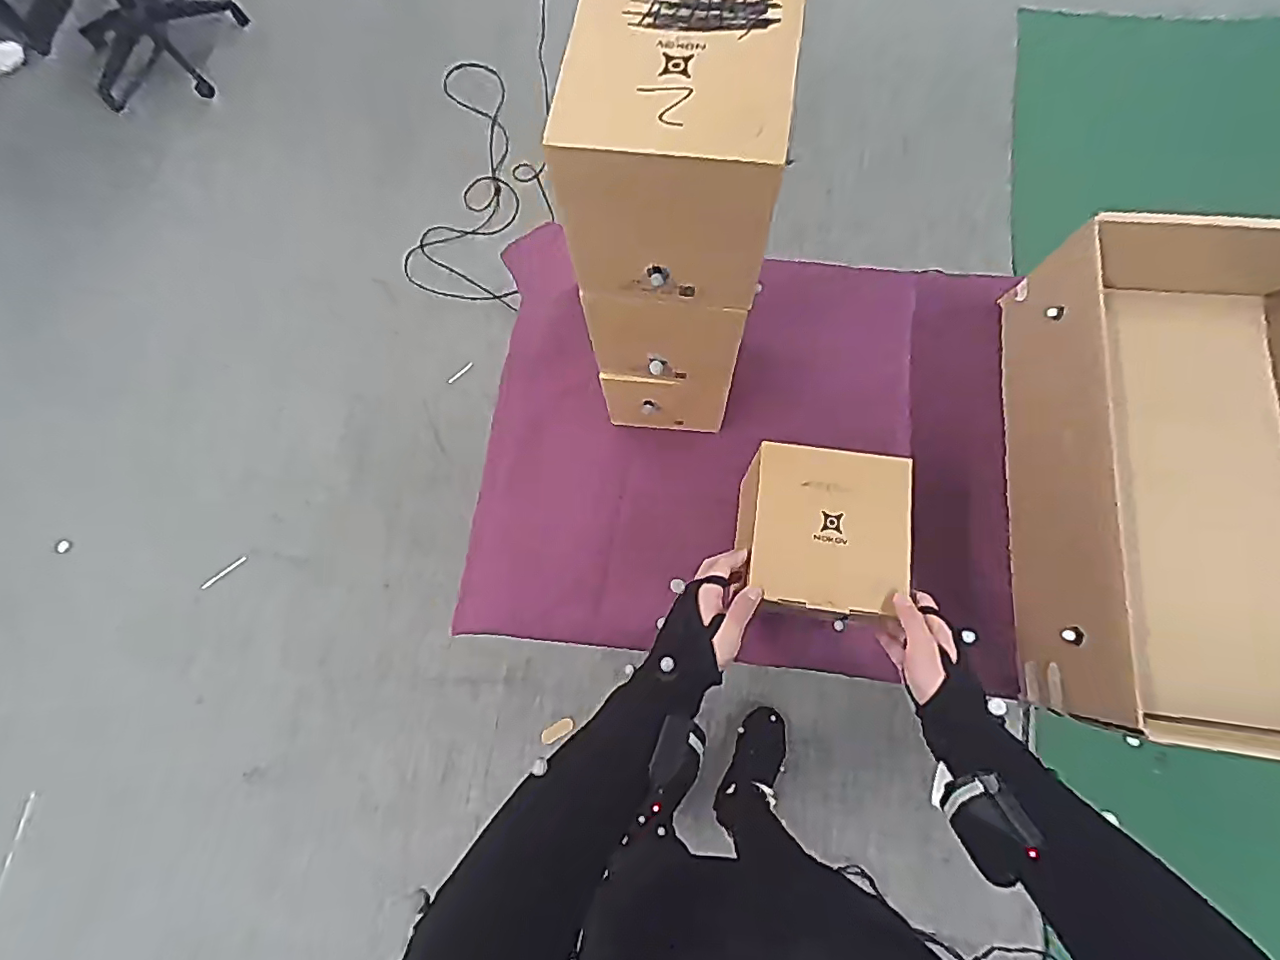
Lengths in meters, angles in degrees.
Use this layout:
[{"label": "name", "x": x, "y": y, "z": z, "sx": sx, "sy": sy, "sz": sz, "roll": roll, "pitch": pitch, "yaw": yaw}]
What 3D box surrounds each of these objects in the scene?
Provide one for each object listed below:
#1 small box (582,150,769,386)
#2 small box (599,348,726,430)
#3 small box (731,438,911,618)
[{"label": "small box", "x": 0.041, "y": -0.231, "z": 0.616, "sx": 0.168, "sy": 0.176, "sz": 0.179, "roll": 9, "pitch": 75, "yaw": 6}, {"label": "small box", "x": 0.043, "y": -0.183, "z": 0.774, "sx": 0.168, "sy": 0.176, "sz": 0.179, "roll": 5, "pitch": 74, "yaw": 5}, {"label": "small box", "x": 0.206, "y": 0.067, "z": 0.653, "sx": 0.168, "sy": 0.176, "sz": 0.179, "roll": 8, "pitch": 74, "yaw": 5}]
